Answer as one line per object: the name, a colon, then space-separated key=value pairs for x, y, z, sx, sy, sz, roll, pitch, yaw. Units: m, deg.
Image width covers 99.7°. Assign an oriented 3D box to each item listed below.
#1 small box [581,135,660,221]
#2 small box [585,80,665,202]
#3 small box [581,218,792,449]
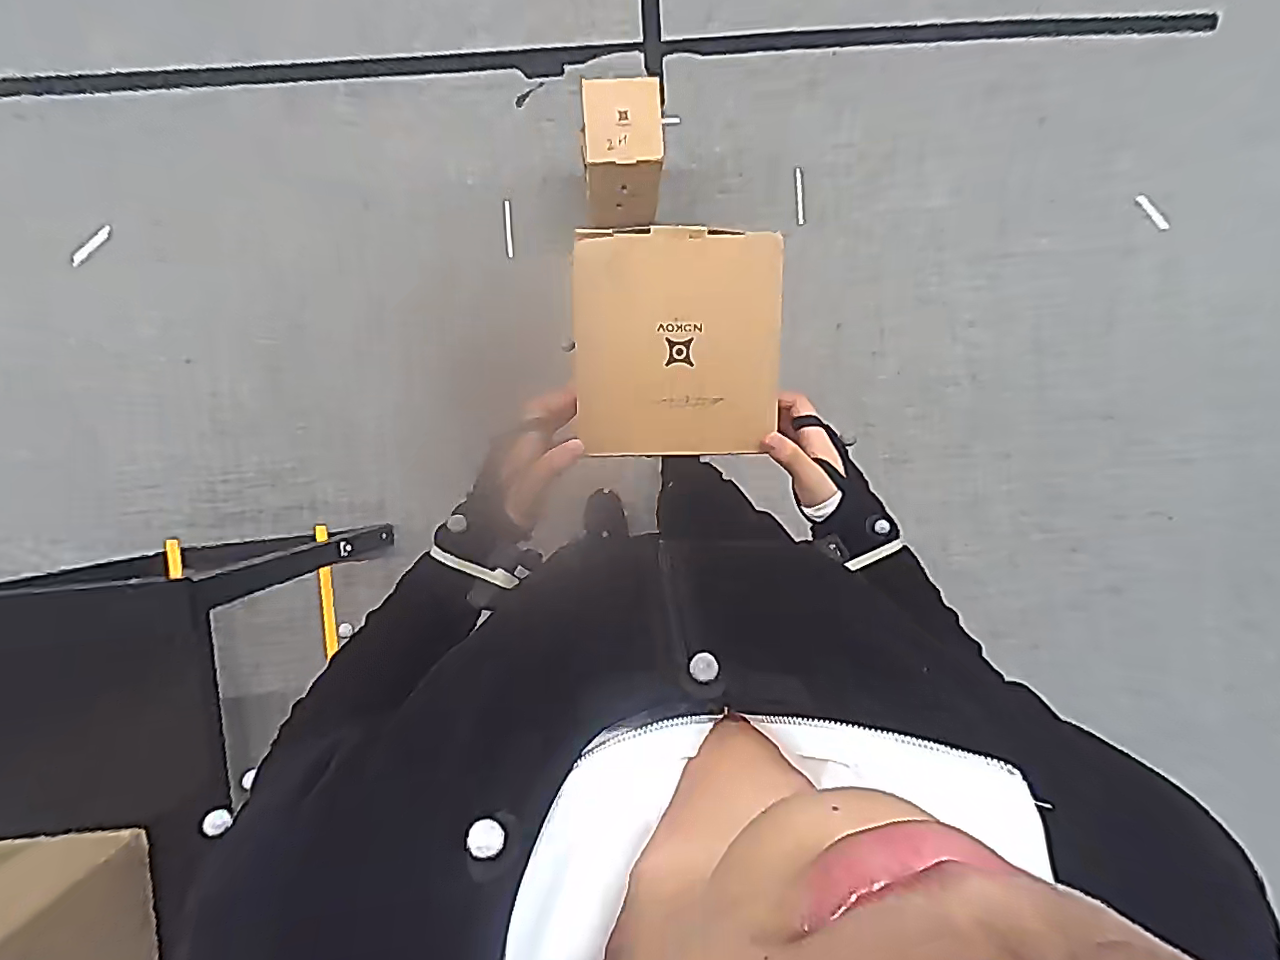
small box: x=-0.049 y=-0.758 z=1.380 sx=0.179 sy=0.176 sz=0.168 roll=-8 pitch=92 yaw=-3
small box: x=-0.036 y=-0.754 z=1.215 sx=0.168 sy=0.176 sz=0.179 roll=-4 pitch=92 yaw=-2
small box: x=0.029 y=-0.124 z=0.501 sx=0.168 sy=0.176 sz=0.179 roll=-1 pitch=100 yaw=-4
